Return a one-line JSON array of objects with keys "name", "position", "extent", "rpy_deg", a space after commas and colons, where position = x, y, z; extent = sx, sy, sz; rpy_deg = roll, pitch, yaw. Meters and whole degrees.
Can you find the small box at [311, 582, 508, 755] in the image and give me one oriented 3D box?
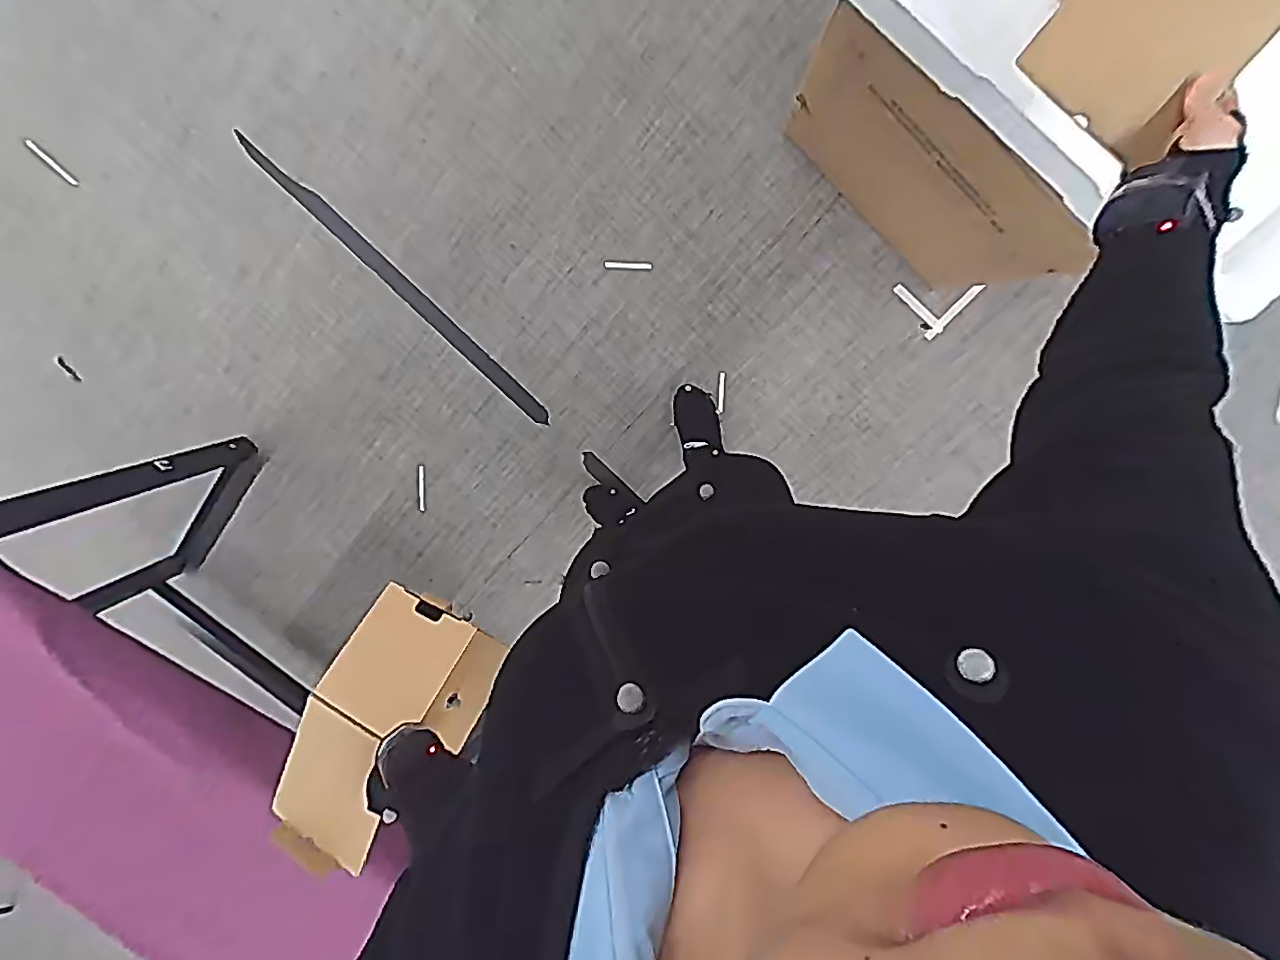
[{"name": "small box", "position": [-0.322, 0.283, 0.798], "extent": [0.168, 0.176, 0.179], "rpy_deg": [22, 66, 17]}]
